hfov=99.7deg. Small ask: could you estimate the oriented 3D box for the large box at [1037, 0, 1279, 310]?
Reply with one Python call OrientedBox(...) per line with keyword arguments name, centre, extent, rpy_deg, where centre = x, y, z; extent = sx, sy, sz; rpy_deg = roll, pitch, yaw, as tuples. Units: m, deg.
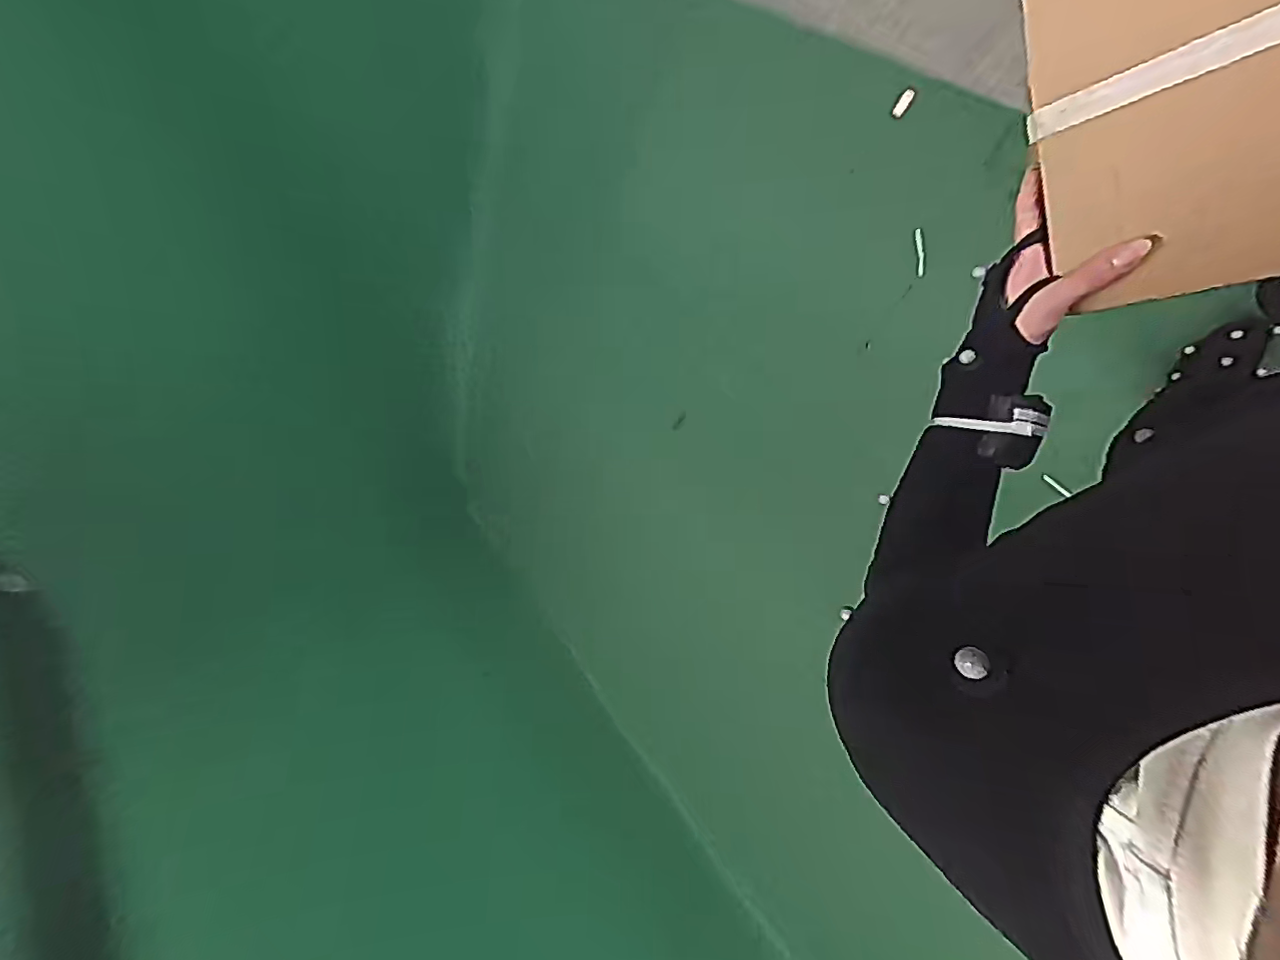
OrientedBox(name="large box", centre=(0.565, -0.344, 0.383), extent=(0.408, 0.320, 0.320), rpy_deg=(-1, 111, 48))
